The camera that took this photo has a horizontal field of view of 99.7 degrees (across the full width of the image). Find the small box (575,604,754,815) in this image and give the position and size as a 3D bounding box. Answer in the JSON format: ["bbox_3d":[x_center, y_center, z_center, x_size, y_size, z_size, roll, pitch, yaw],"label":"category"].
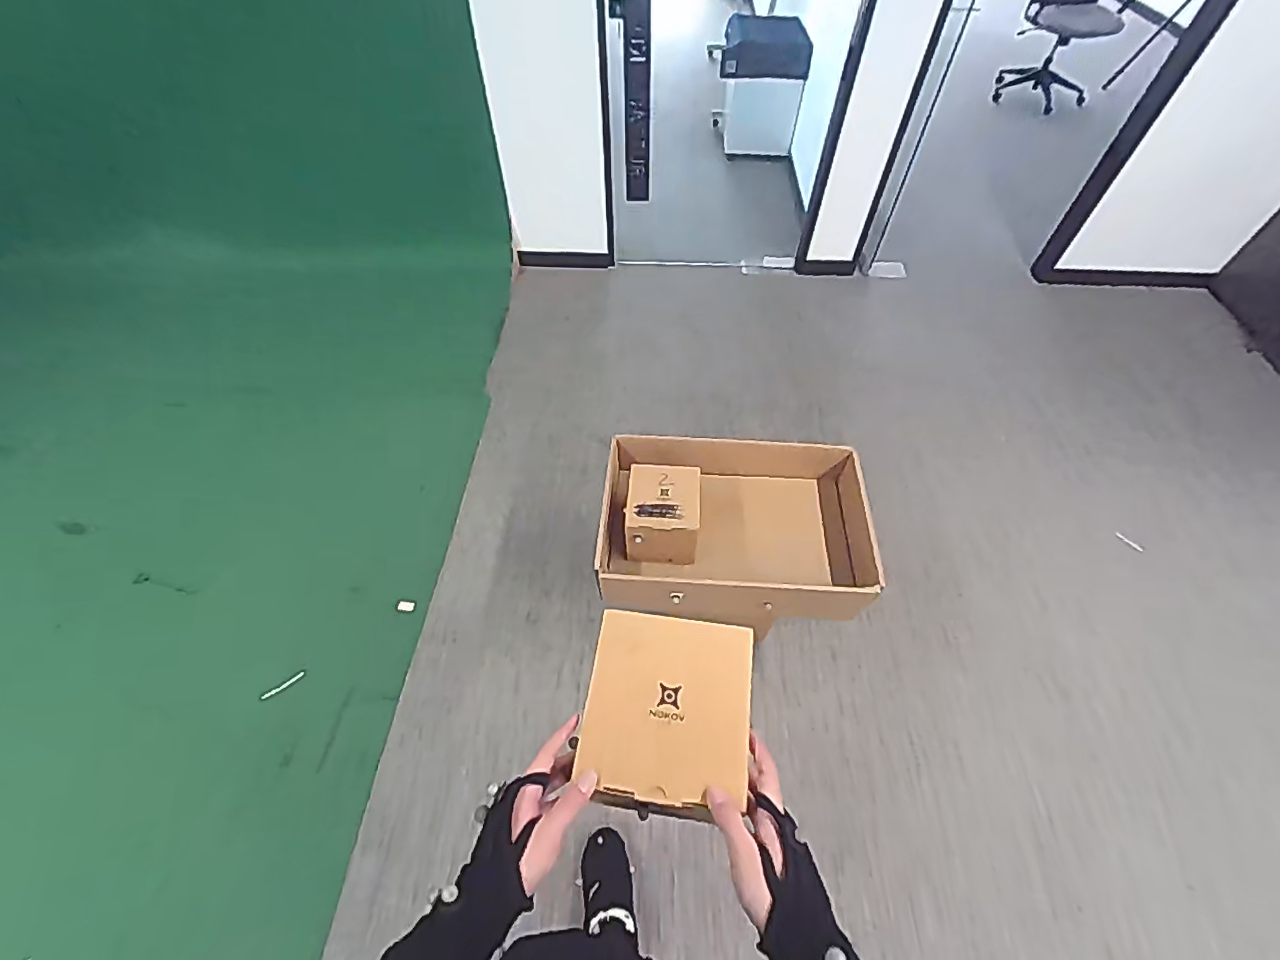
[{"bbox_3d":[0.031,0.262,0.611,0.168,0.176,0.179,6,56,5],"label":"small box"}]
